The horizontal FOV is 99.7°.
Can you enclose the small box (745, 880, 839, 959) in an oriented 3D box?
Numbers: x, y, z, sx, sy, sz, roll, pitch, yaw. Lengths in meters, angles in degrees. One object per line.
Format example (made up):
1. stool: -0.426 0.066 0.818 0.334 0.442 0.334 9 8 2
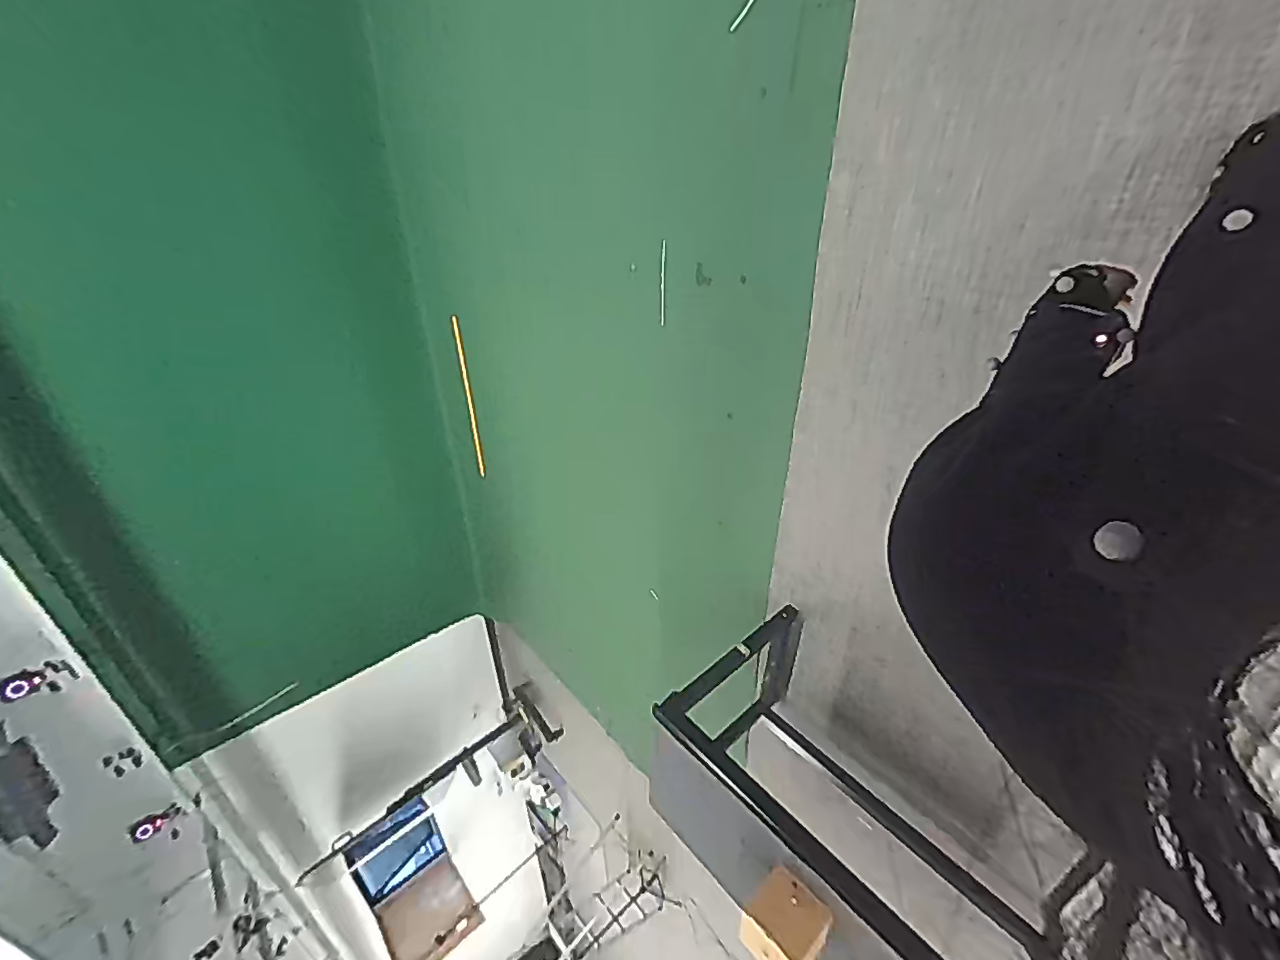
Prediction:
1. small box: 0.393 1.200 1.399 0.168 0.176 0.179 27 130 42
